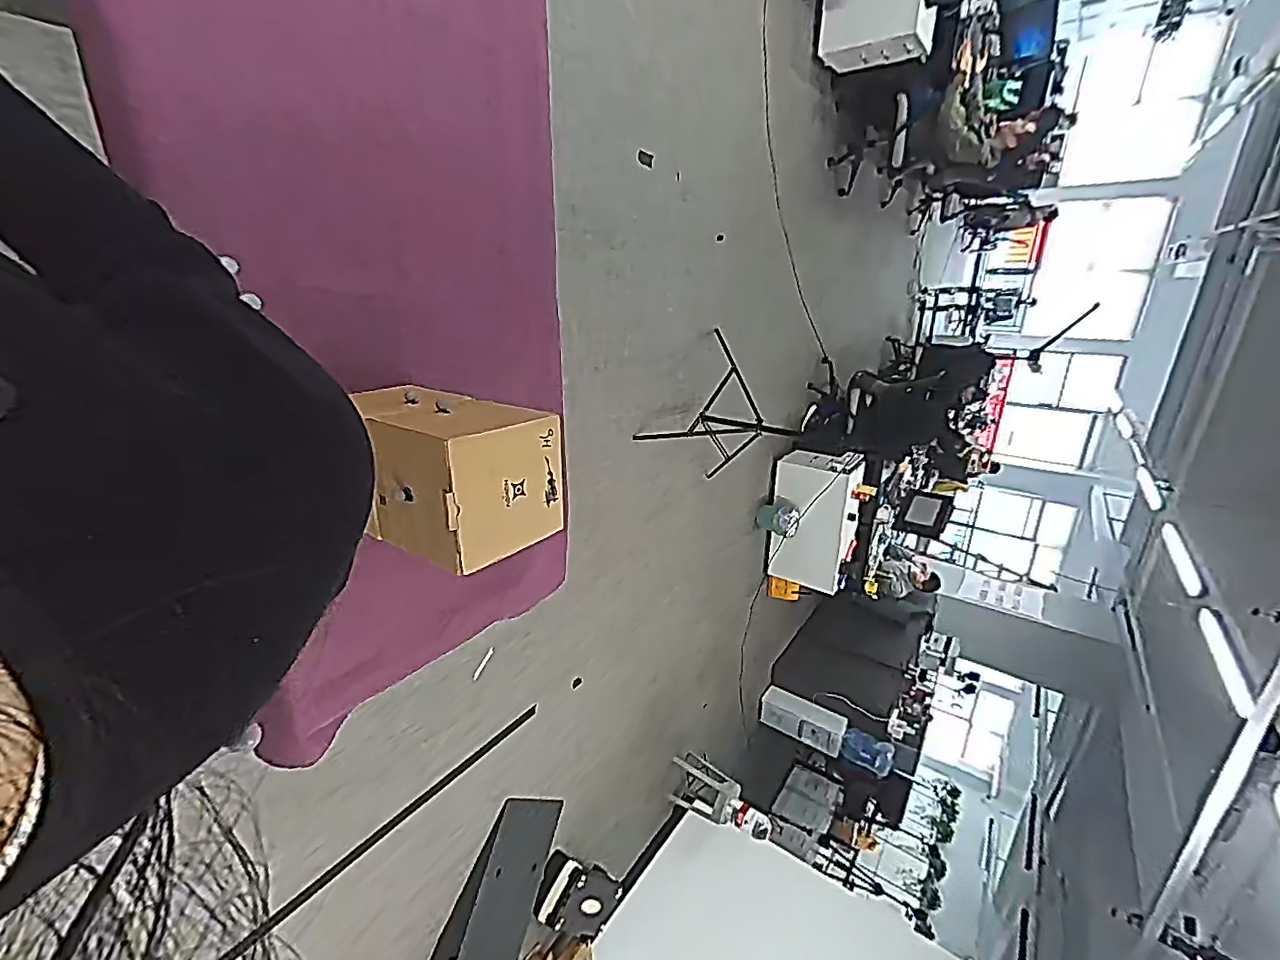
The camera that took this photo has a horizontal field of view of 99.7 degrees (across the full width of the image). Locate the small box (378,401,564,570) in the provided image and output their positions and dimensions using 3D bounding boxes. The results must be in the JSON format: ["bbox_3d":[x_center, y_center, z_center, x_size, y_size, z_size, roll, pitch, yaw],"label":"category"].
[{"bbox_3d":[-0.221,-0.006,0.711,0.179,0.176,0.168,-23,120,-51],"label":"small box"}]

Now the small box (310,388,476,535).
[{"bbox_3d":[-0.357,-0.039,0.797,0.179,0.176,0.168,-25,122,-50],"label":"small box"}]
